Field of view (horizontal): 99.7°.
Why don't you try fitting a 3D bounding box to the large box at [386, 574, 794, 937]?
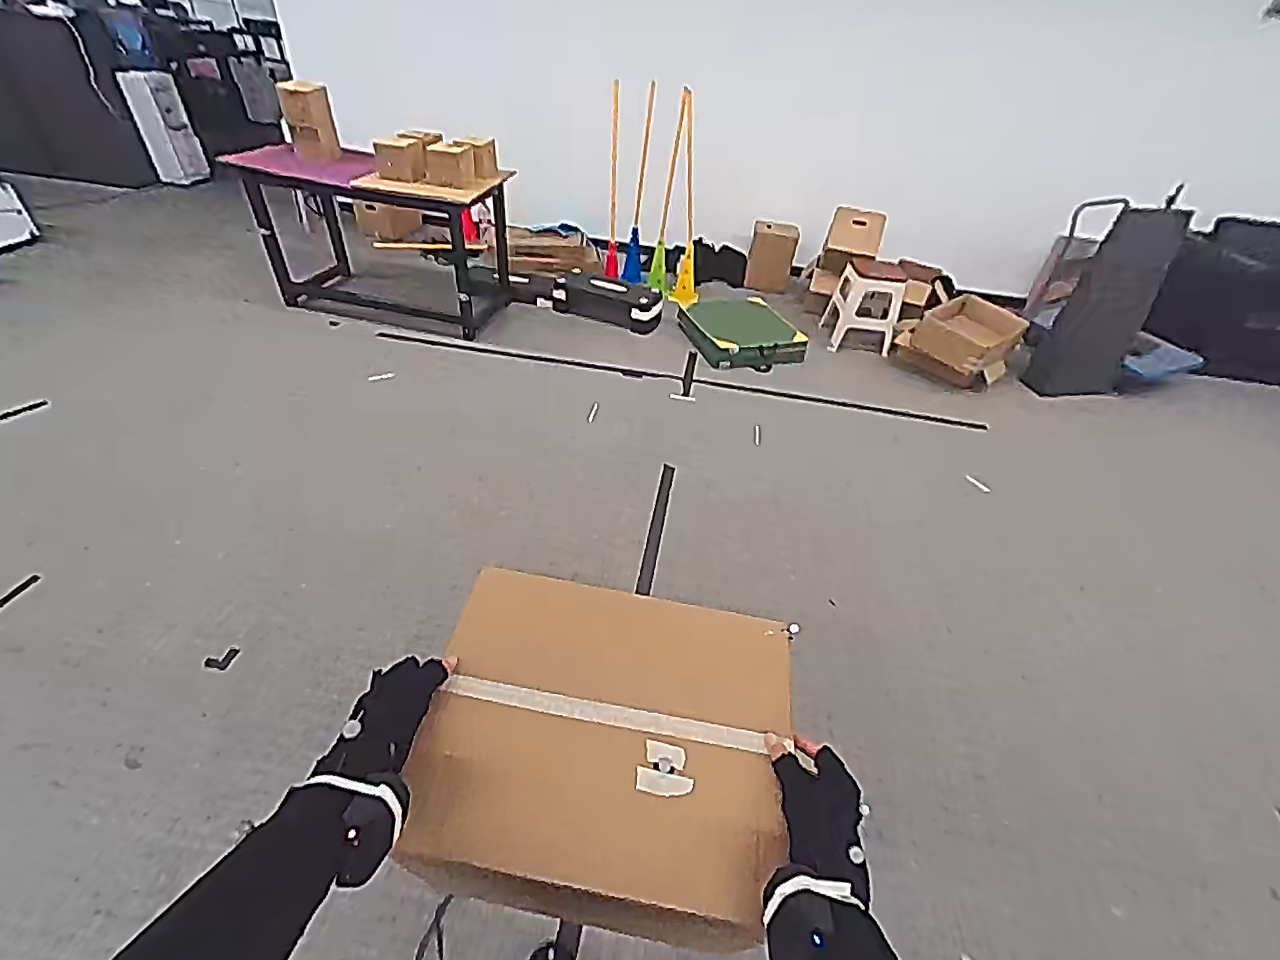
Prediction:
[{"bbox_3d":[-0.045,0.366,0.720,0.408,0.320,0.320,10,47,2],"label":"large box"}]
